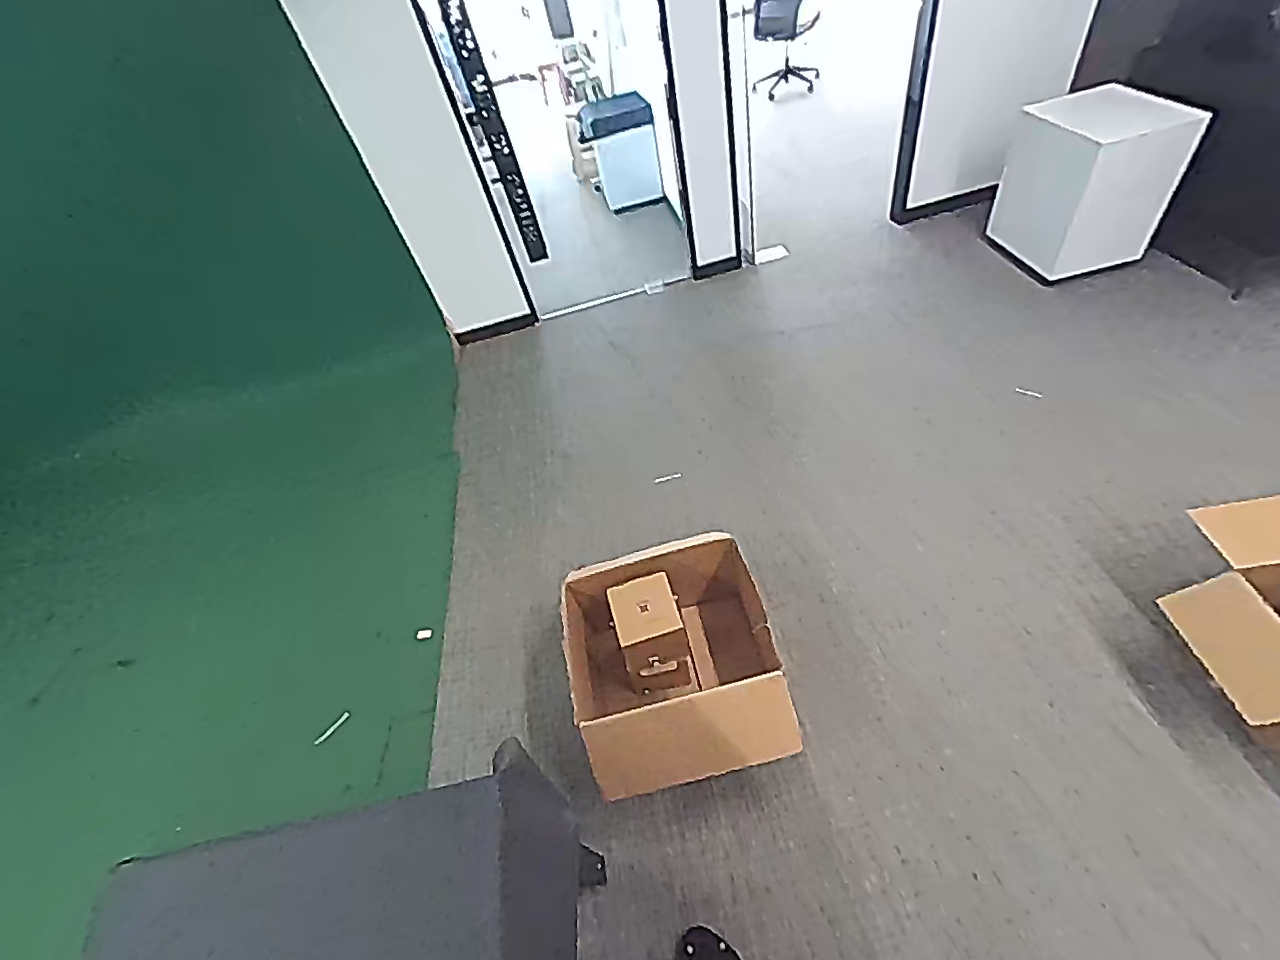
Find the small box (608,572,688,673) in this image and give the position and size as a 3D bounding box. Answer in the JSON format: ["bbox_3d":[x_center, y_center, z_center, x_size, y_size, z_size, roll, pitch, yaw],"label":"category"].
[{"bbox_3d":[0.023,0.379,1.432,0.168,0.176,0.179,-17,48,-4],"label":"small box"}]
